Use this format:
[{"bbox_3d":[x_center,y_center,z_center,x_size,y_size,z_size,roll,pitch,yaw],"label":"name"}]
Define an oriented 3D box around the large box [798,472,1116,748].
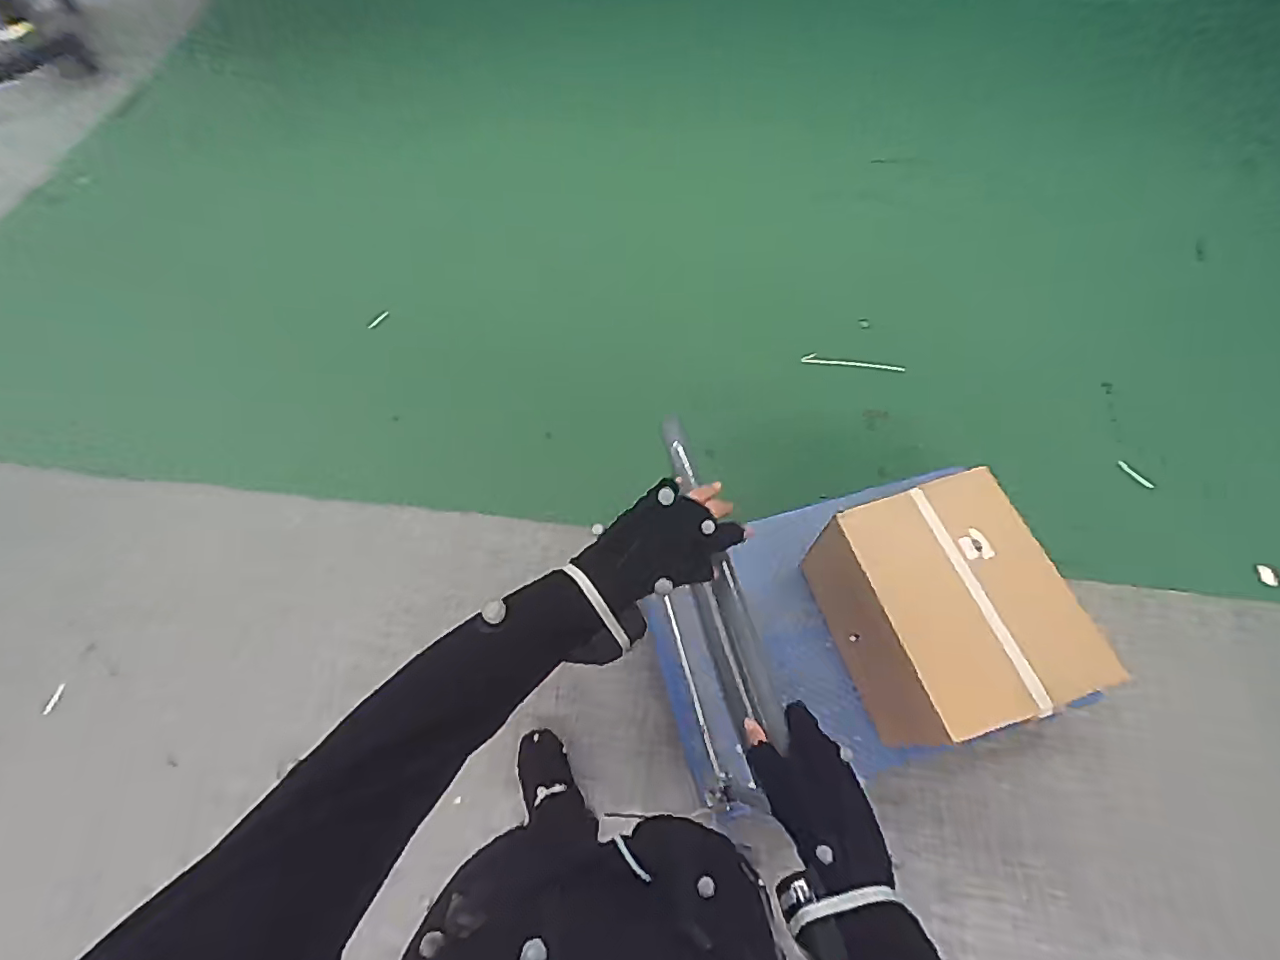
[{"bbox_3d":[0.557,0.262,1.056,0.320,0.320,0.408,-16,62,-6],"label":"large box"}]
